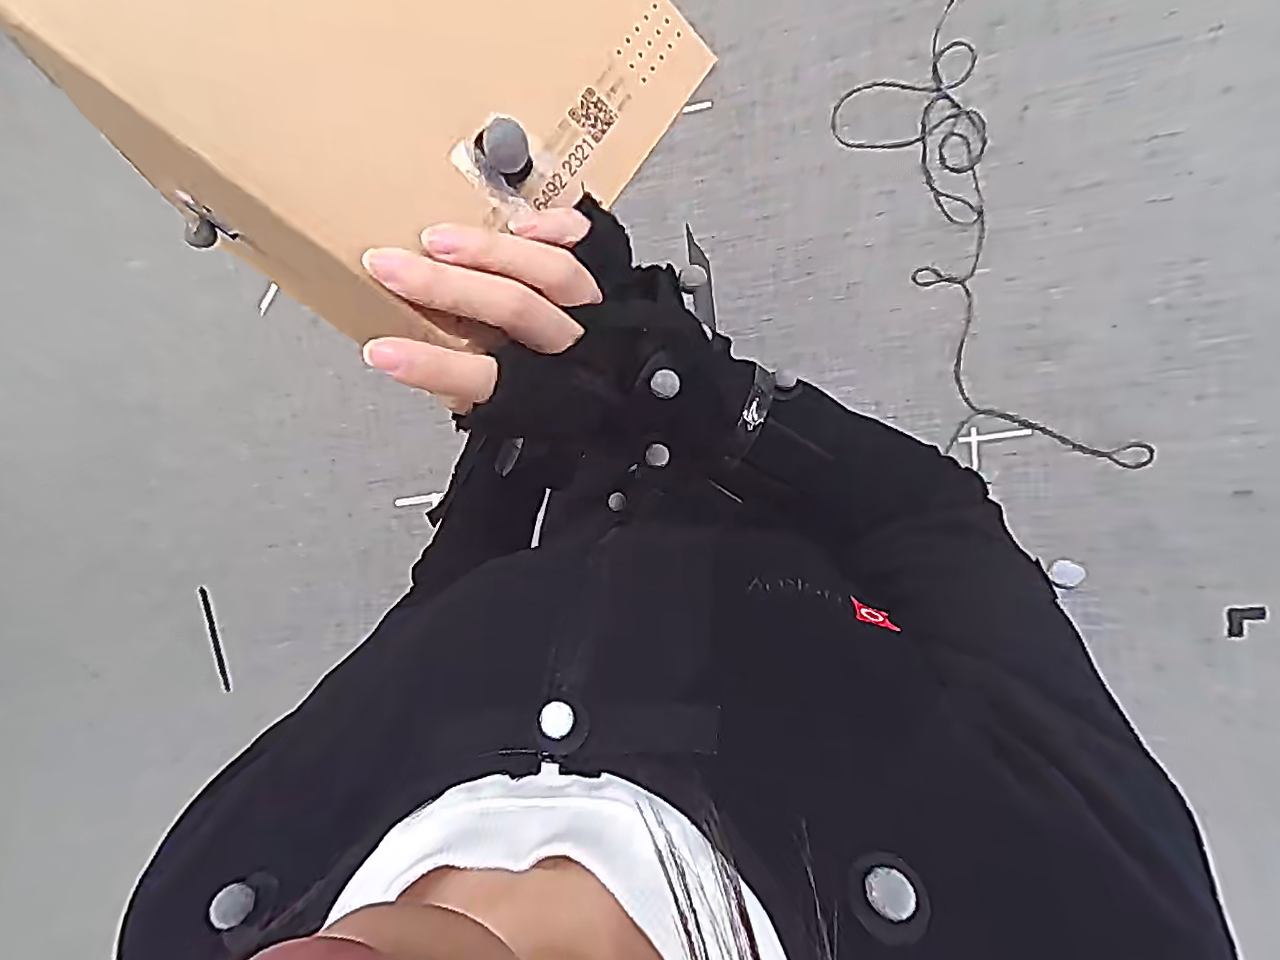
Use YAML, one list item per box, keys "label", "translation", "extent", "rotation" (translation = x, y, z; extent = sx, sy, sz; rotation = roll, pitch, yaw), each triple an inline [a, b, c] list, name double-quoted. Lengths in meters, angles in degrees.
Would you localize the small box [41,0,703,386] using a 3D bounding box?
- label: "small box"
  translation: [-0.103, -0.163, 0.275]
  extent: [0.176, 0.179, 0.168]
  rotation: [36, 80, -22]
